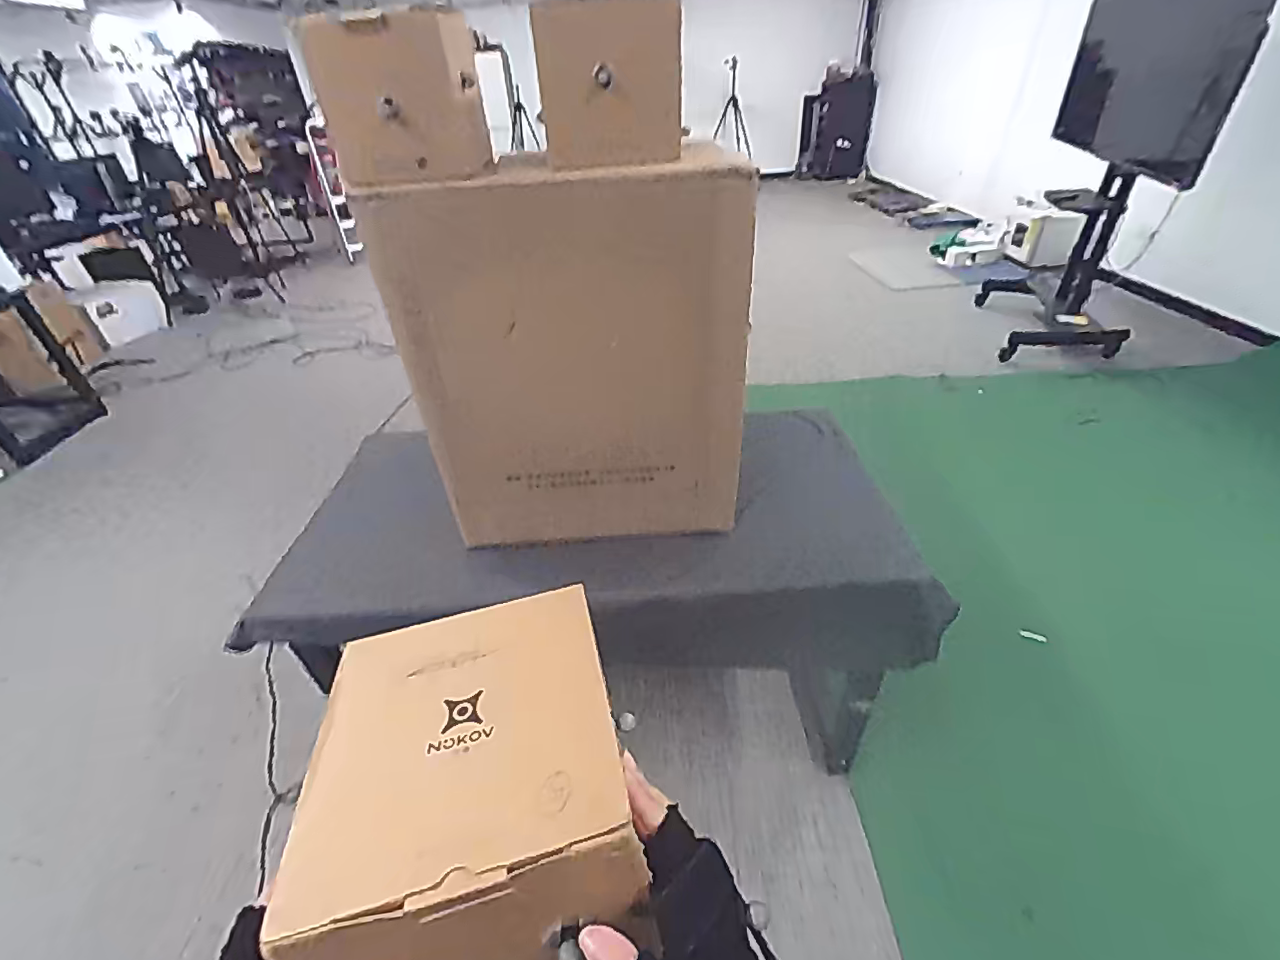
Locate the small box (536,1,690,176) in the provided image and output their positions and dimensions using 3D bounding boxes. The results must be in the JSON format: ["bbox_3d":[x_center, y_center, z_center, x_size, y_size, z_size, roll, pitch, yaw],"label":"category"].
[{"bbox_3d":[-0.029,-0.516,0.718,0.179,0.176,0.168,-3,38,1],"label":"small box"}]

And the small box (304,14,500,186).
[{"bbox_3d":[-0.293,-0.498,0.716,0.168,0.176,0.179,-4,39,0],"label":"small box"}]
